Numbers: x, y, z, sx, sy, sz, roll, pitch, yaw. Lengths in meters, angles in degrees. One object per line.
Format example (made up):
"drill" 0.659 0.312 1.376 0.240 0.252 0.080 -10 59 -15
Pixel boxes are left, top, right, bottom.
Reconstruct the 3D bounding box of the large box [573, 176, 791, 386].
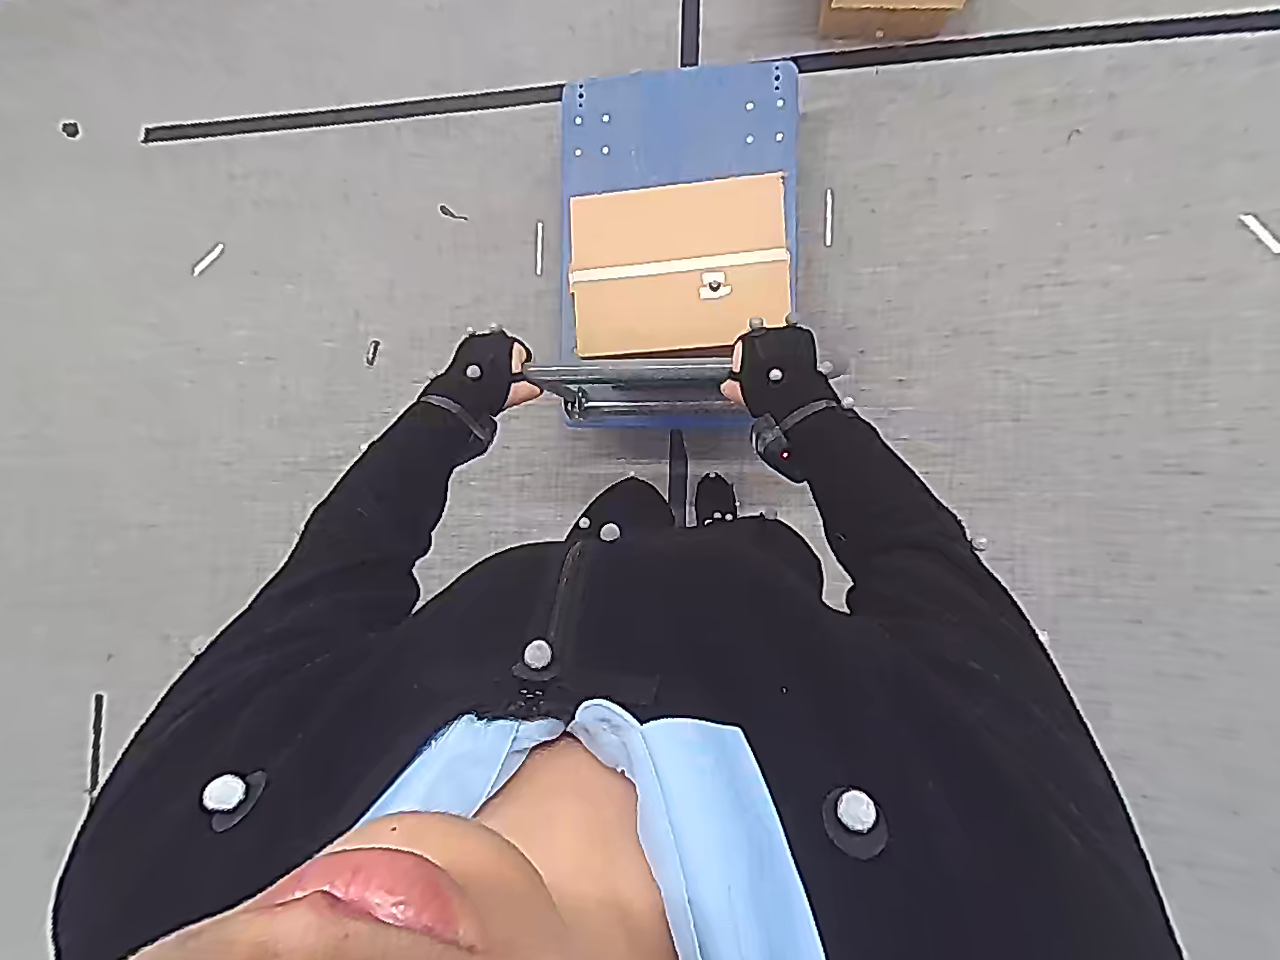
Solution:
"large box" 0.090 -0.401 1.177 0.408 0.320 0.320 -3 89 6
